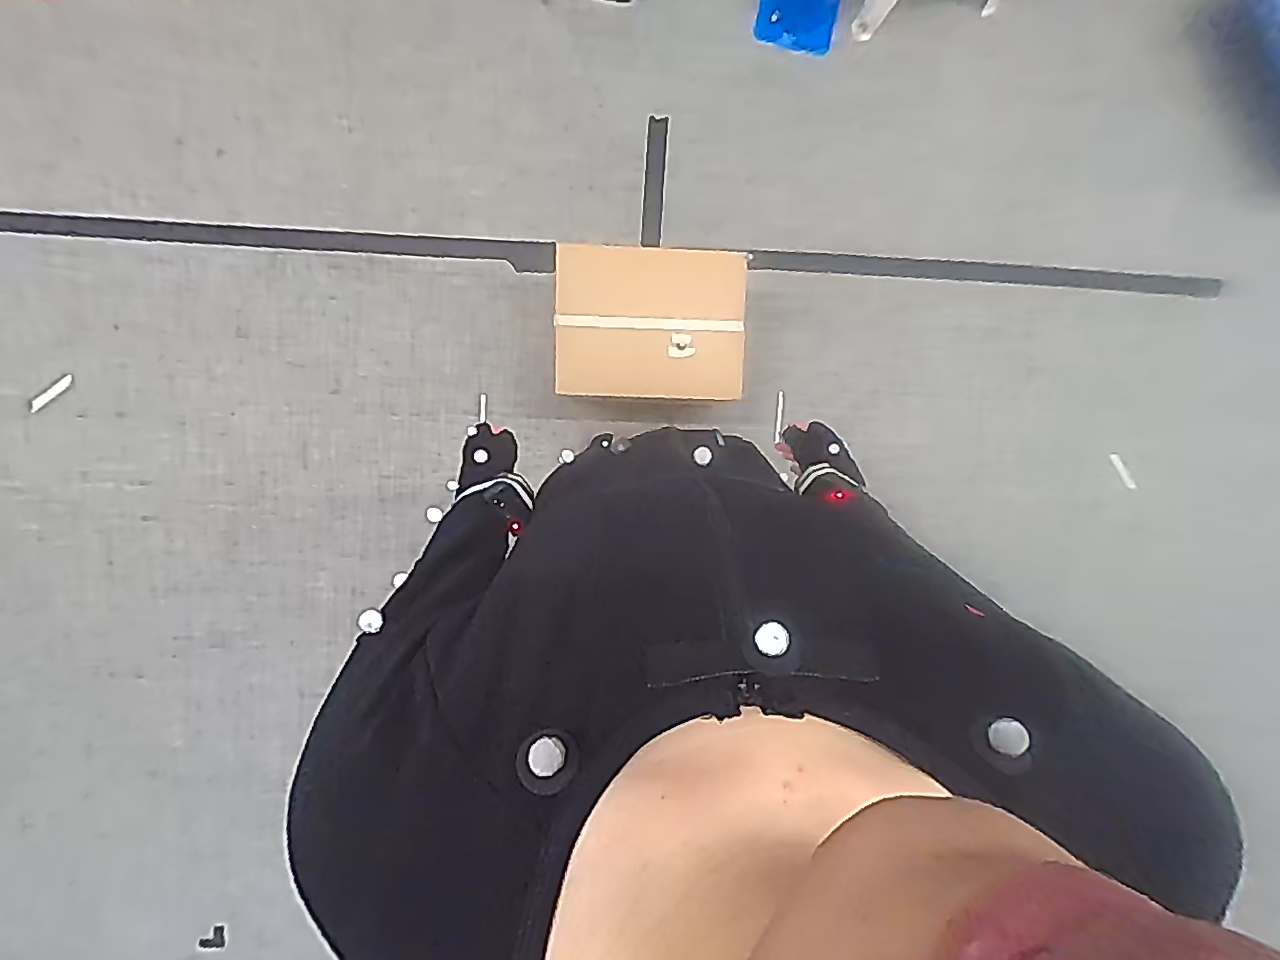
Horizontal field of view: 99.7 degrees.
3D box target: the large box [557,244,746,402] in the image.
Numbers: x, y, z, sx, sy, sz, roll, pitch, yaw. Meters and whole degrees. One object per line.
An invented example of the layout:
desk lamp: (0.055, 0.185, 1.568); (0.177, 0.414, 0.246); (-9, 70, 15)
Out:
large box: (0.013, -0.351, 1.297); (0.408, 0.320, 0.320); (1, 96, -5)
